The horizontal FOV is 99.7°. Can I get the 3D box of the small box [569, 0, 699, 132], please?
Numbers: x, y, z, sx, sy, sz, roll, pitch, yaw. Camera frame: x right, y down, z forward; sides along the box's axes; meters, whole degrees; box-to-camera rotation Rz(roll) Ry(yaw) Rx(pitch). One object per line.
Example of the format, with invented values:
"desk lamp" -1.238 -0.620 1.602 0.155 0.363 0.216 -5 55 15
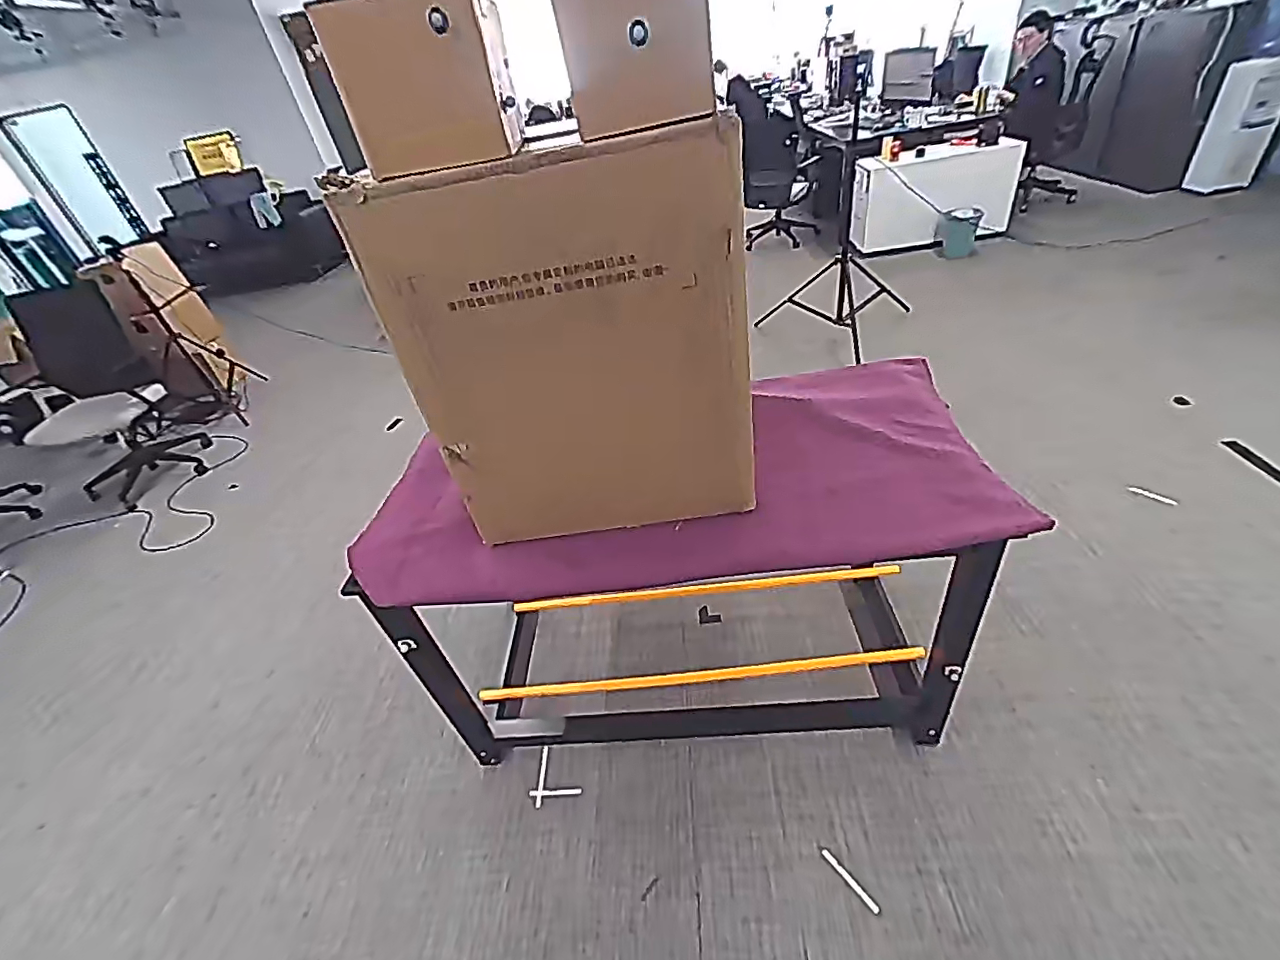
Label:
"small box" -0.002 -0.649 0.829 0.168 0.176 0.179 -7 37 7
